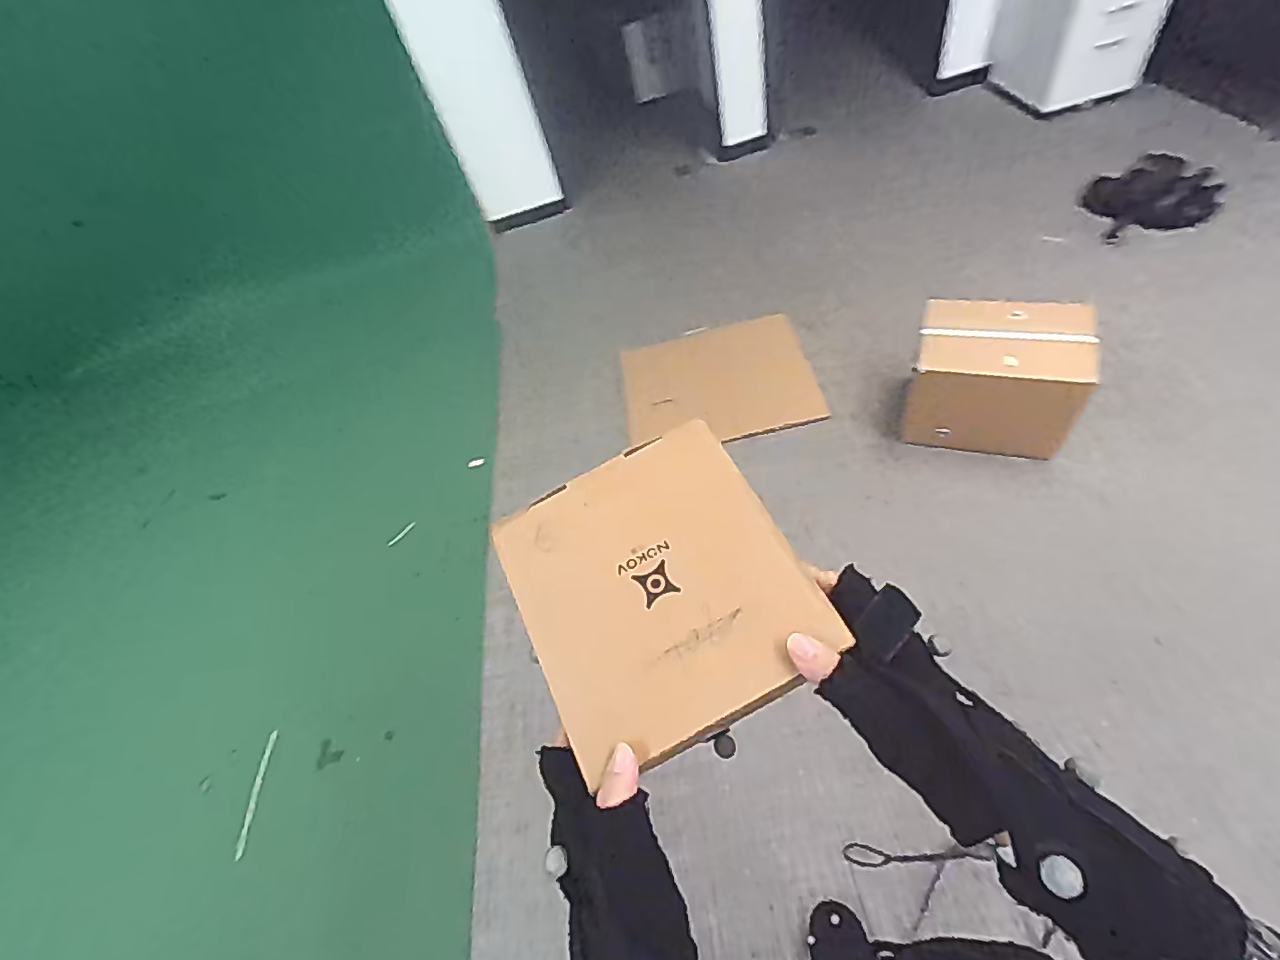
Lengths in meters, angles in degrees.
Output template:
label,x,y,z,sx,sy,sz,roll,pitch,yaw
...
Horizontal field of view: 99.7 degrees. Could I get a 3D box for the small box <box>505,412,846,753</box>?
label,x,y,z,sx,sy,sz,roll,pitch,yaw
small box,0.025,0.087,0.414,0.168,0.176,0.179,-27,63,-2
